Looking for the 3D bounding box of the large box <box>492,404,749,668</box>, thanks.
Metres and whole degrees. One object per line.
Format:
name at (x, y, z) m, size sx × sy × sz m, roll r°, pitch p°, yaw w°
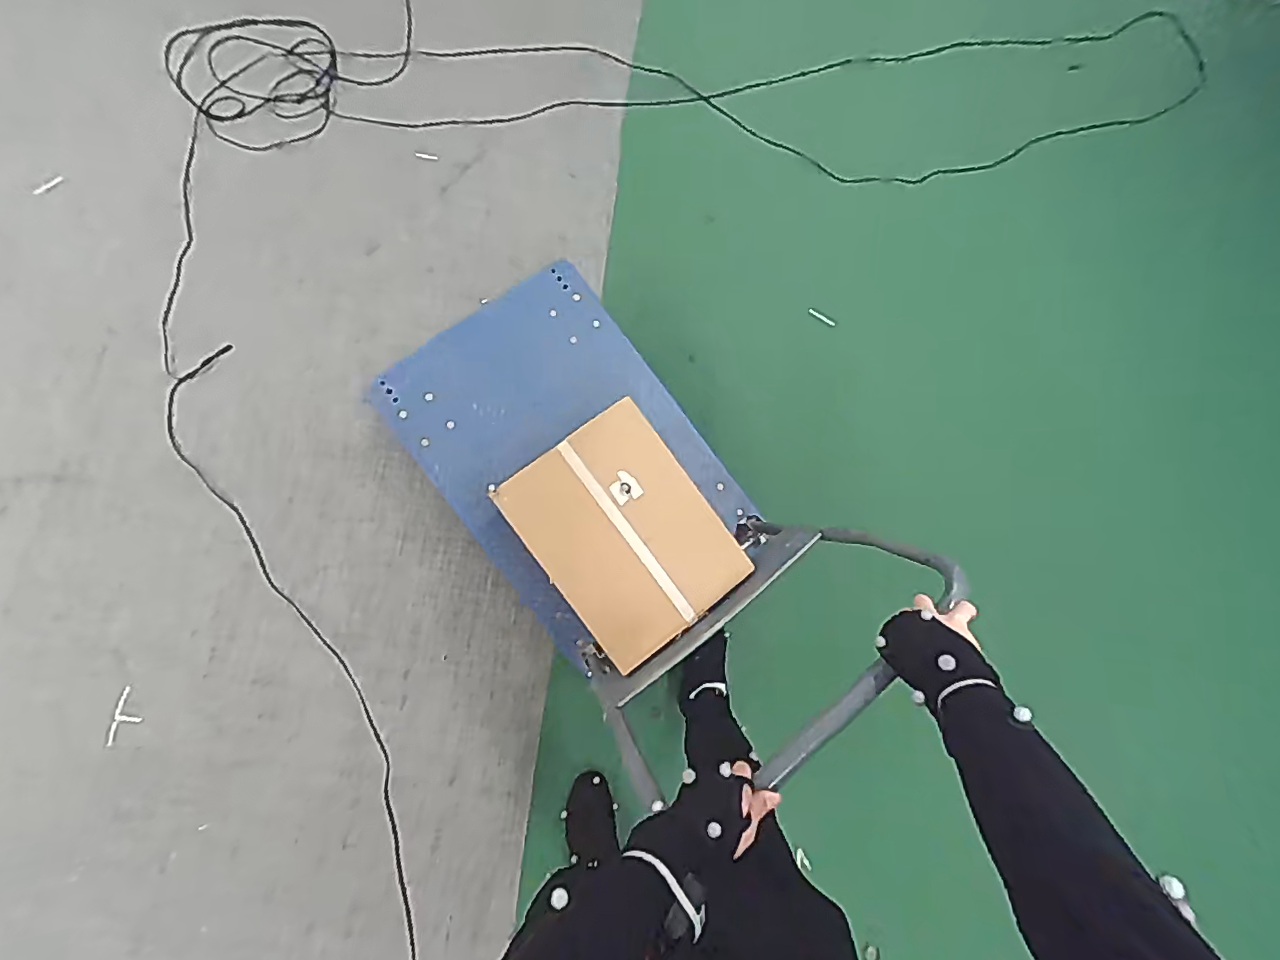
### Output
large box at (-0.047, 0.115, 1.147) m, size 0.320 × 0.320 × 0.408 m, roll -38°, pitch 89°, yaw -10°
